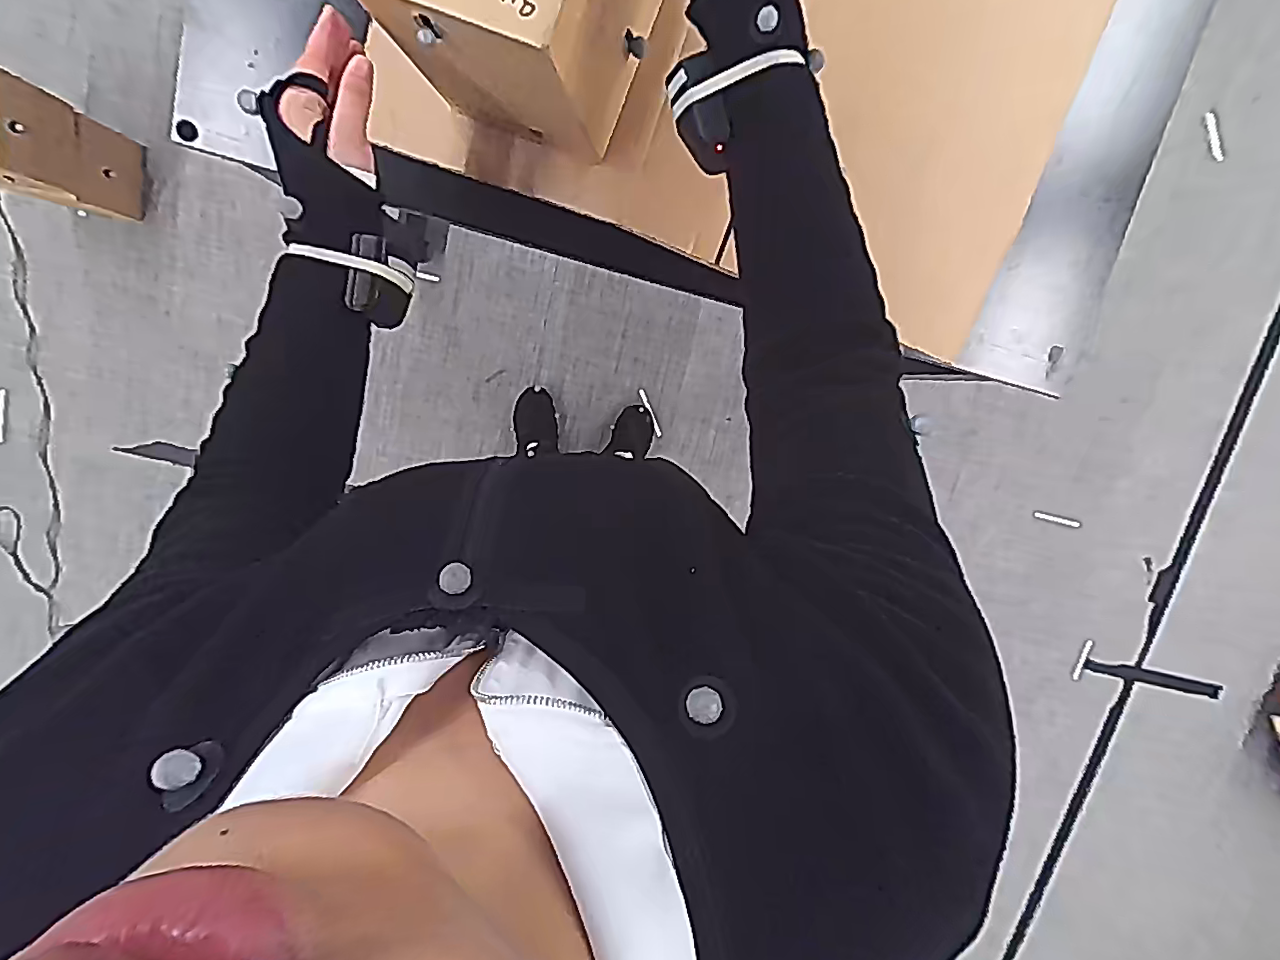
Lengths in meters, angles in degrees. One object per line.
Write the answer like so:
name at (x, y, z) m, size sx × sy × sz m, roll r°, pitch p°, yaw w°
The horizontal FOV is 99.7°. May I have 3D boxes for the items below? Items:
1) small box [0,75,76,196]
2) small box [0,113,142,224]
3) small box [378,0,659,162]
small box at (-1.236, -0.667, 1.029) m, size 0.168 × 0.176 × 0.179 m, roll 6°, pitch 99°, yaw -7°
small box at (-1.249, -0.691, 1.189) m, size 0.168 × 0.176 × 0.179 m, roll 9°, pitch 100°, yaw -6°
small box at (-0.089, -0.404, 0.434) m, size 0.168 × 0.176 × 0.179 m, roll 24°, pitch 98°, yaw 5°
